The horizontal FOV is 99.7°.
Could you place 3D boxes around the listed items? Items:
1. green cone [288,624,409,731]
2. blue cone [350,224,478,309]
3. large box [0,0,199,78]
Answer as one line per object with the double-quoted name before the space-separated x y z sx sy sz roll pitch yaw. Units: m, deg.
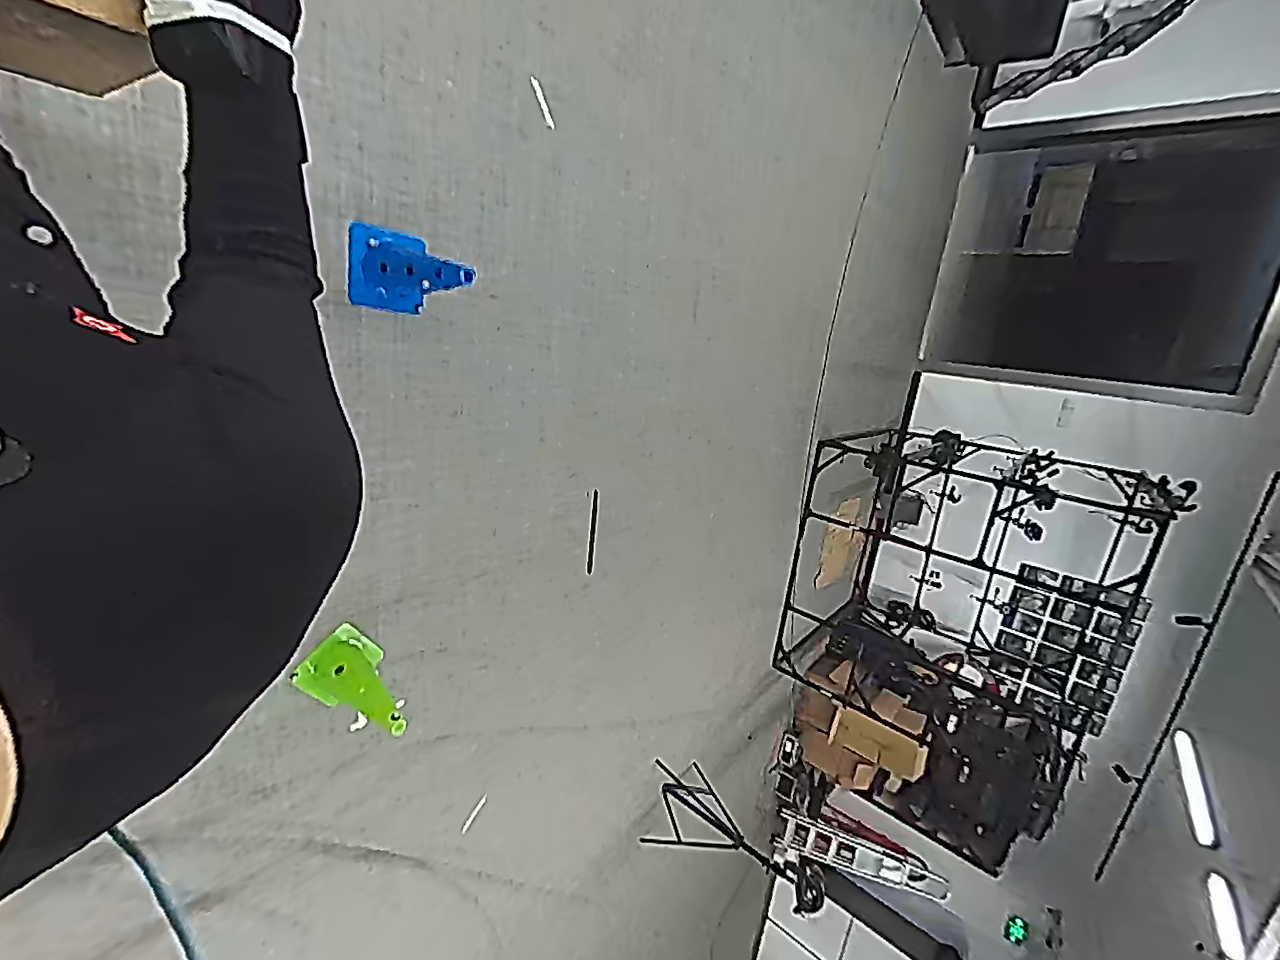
"green cone" -0.753 0.586 1.483 0.202 0.368 0.200 -51 140 -28
"blue cone" -0.533 -0.513 1.322 0.192 0.380 0.193 -7 111 -53
"large box" -0.521 -0.462 0.256 0.408 0.320 0.320 -14 119 -52
